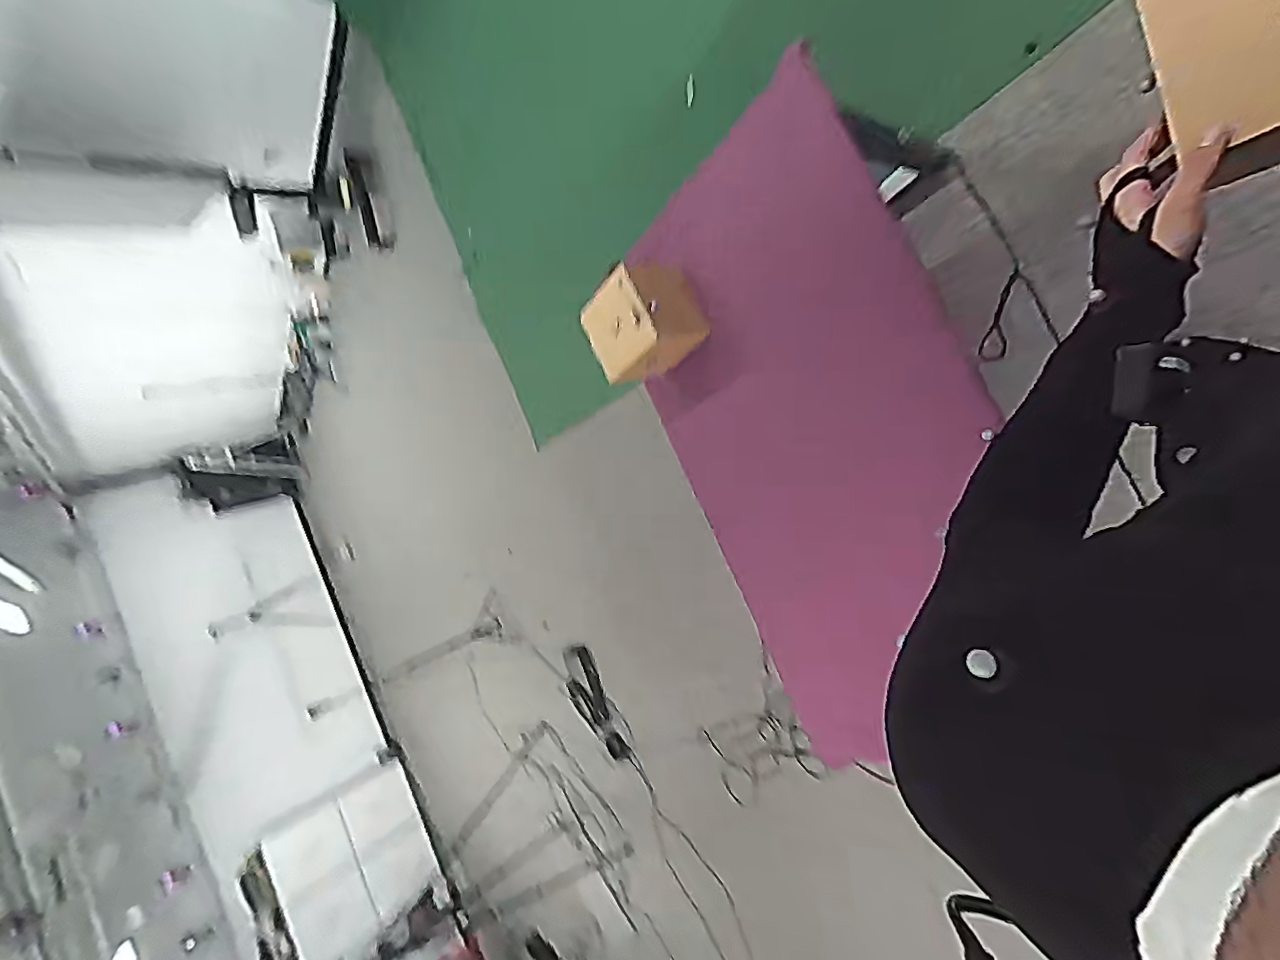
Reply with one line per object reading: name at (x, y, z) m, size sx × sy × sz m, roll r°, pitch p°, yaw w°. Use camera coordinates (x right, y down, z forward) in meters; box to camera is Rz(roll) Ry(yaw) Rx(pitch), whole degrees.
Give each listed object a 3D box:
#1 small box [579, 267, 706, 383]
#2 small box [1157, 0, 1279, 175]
small box at (0.006, -0.326, 1.144) m, size 0.179 × 0.176 × 0.168 m, roll -34°, pitch 80°, yaw 49°
small box at (0.537, -0.379, 0.429) m, size 0.168 × 0.176 × 0.179 m, roll -12°, pitch 92°, yaw 50°
